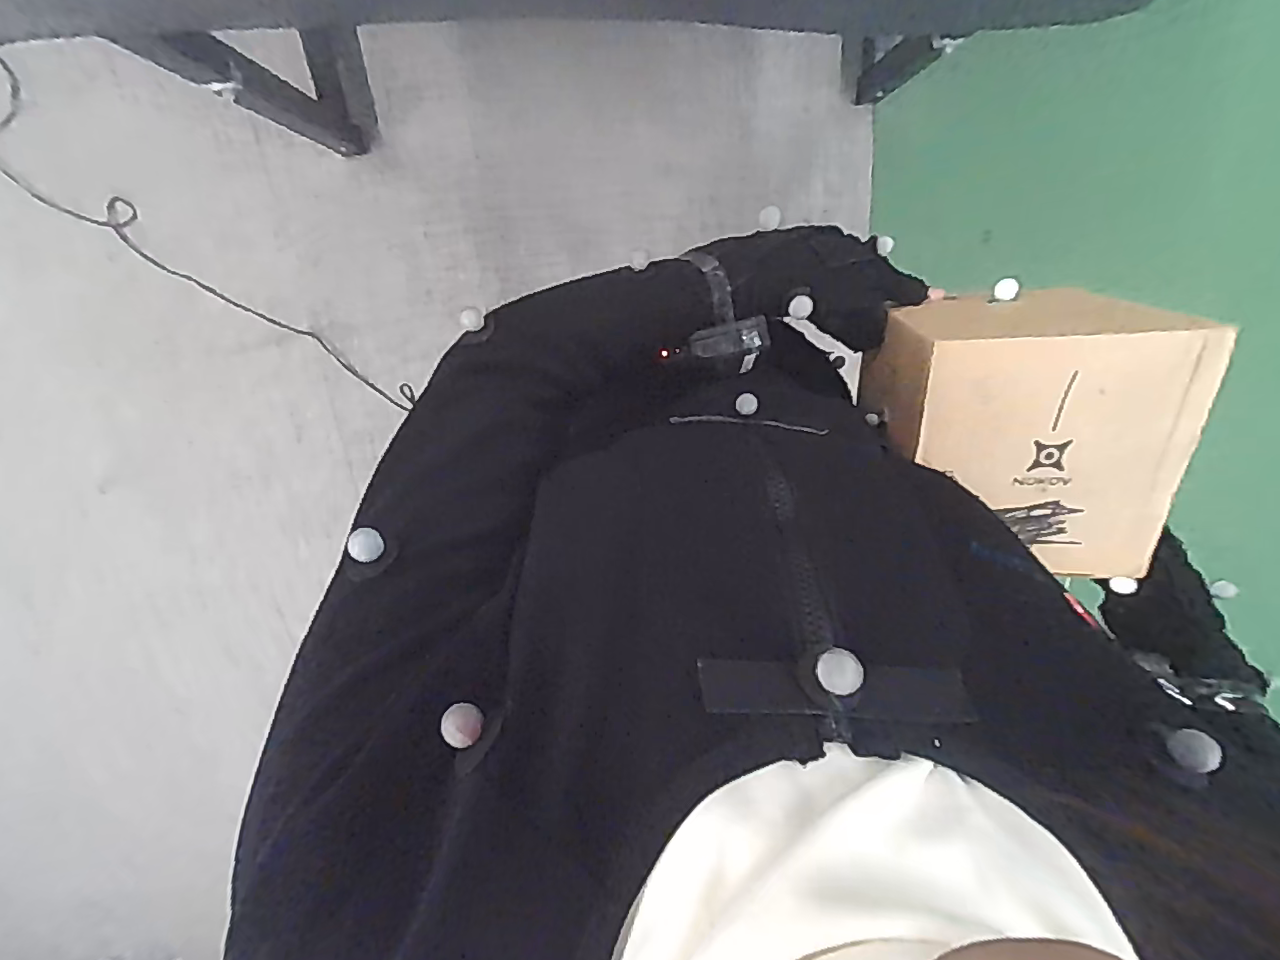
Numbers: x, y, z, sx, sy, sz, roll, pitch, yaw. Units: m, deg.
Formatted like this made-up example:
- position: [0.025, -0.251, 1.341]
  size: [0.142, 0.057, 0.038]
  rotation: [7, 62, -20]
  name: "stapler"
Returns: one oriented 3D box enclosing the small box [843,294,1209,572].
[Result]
- position: [0.272, -0.047, 0.439]
  size: [0.168, 0.176, 0.179]
  rotation: [1, 116, 8]
  name: "small box"
